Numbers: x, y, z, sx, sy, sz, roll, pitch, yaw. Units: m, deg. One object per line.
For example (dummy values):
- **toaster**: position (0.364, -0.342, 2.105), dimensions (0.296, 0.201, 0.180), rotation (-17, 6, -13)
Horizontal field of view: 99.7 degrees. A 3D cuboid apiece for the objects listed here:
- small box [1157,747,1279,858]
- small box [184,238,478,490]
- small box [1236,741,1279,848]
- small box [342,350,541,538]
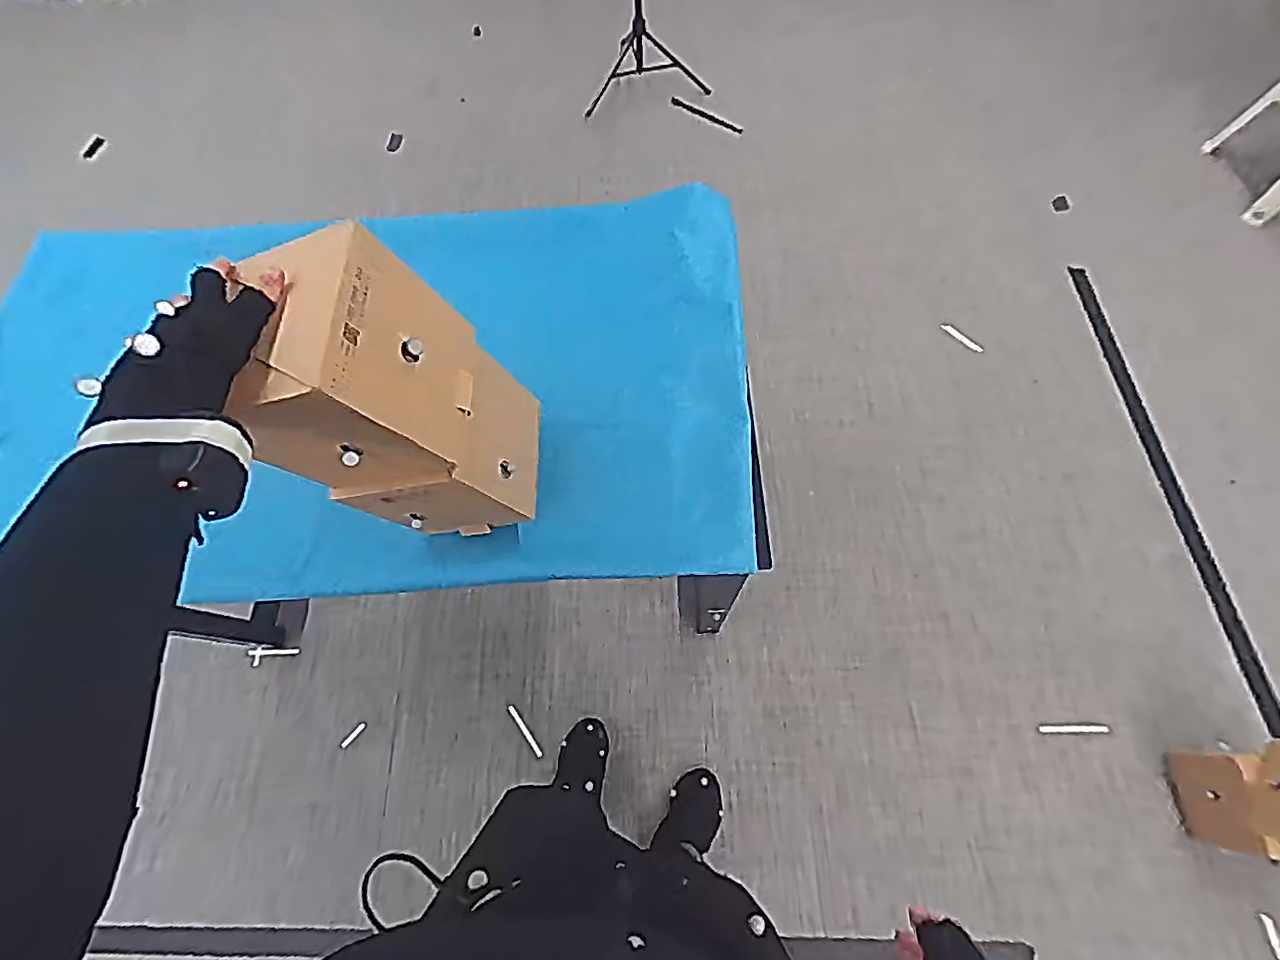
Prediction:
- **small box**: position (1.239, 0.656, 1.111), dimensions (0.168, 0.176, 0.179), rotation (0, 67, 3)
- **small box**: position (-0.288, -0.102, 0.530), dimensions (0.179, 0.176, 0.168), rotation (-8, 67, 21)
- **small box**: position (1.243, 0.591, 0.956), dimensions (0.168, 0.176, 0.179), rotation (33, 72, 15)
- **small box**: position (-0.239, -0.041, 0.674), dimensions (0.168, 0.176, 0.179), rotation (-9, 68, 17)
